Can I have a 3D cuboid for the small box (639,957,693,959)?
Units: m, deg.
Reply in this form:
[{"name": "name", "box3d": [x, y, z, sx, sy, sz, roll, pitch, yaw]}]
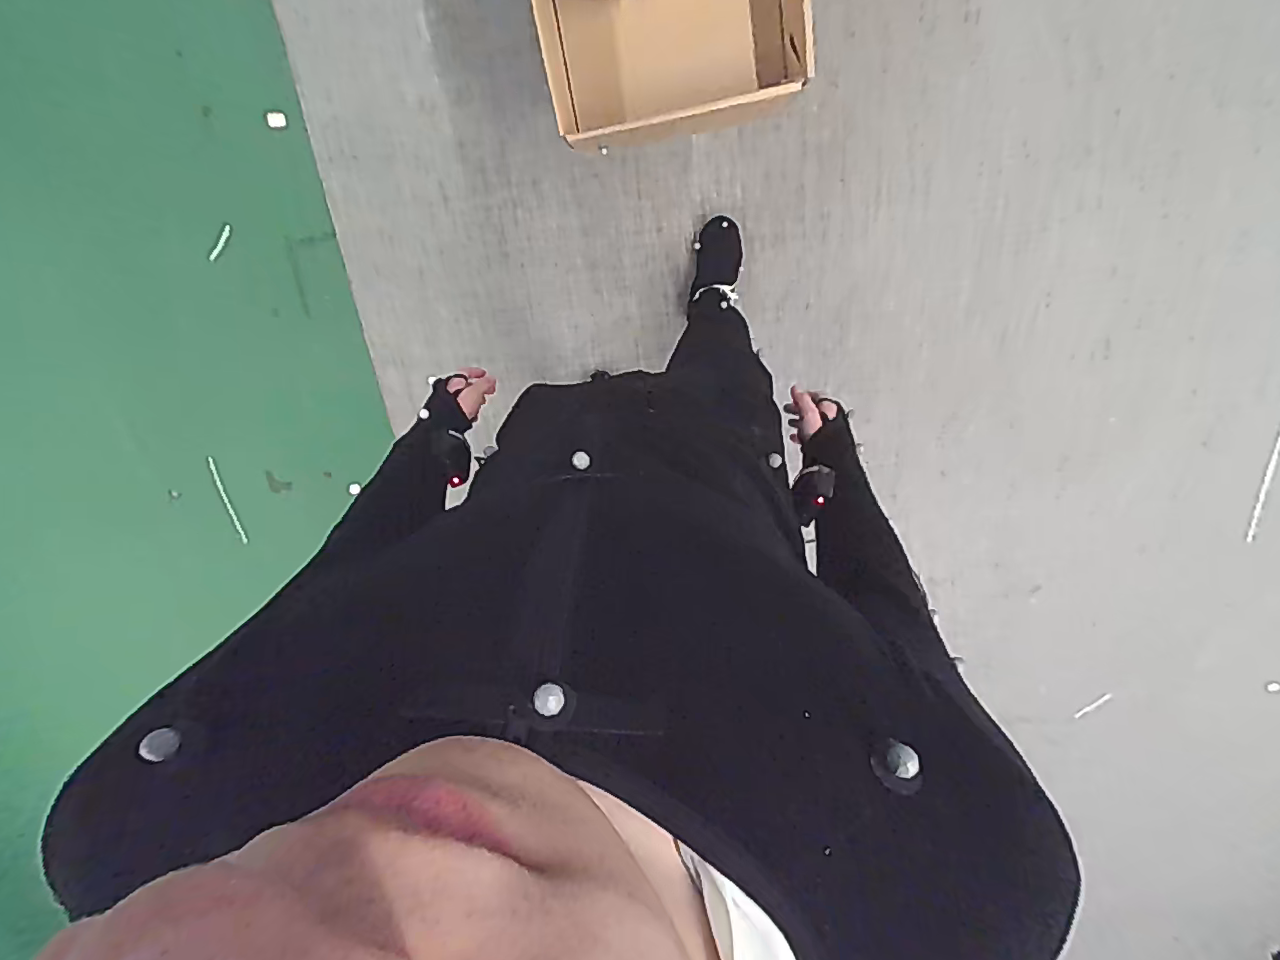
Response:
[{"name": "small box", "box3d": [0.077, 1.332, 1.342, 0.168, 0.176, 0.179, -7, 113, 6]}]
